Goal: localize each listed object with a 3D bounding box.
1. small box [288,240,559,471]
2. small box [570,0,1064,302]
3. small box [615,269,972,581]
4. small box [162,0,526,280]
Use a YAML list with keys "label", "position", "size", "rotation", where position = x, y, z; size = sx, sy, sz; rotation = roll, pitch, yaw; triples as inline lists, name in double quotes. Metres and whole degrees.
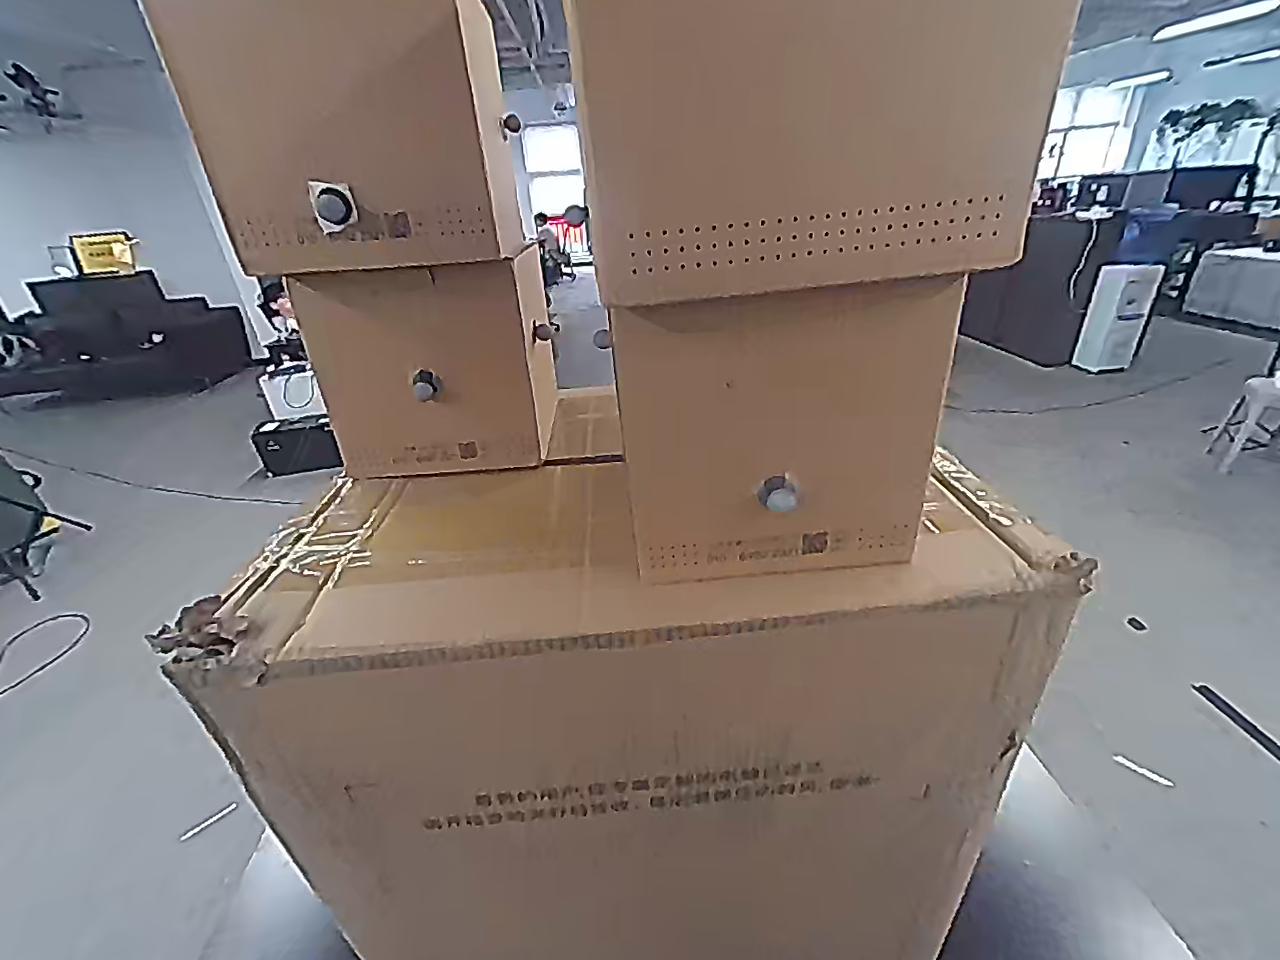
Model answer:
- label: "small box"
  position: [-0.169, -0.115, 0.493]
  size: [0.168, 0.176, 0.179]
  rotation: [-4, 28, -2]
- label: "small box"
  position: [0.060, -0.185, 0.250]
  size: [0.179, 0.176, 0.168]
  rotation: [-6, 29, -3]
- label: "small box"
  position: [0.074, -0.056, 0.356]
  size: [0.168, 0.176, 0.179]
  rotation: [-5, 29, 1]
- label: "small box"
  position: [-0.179, -0.243, 0.386]
  size: [0.168, 0.176, 0.179]
  rotation: [-7, 28, -4]
